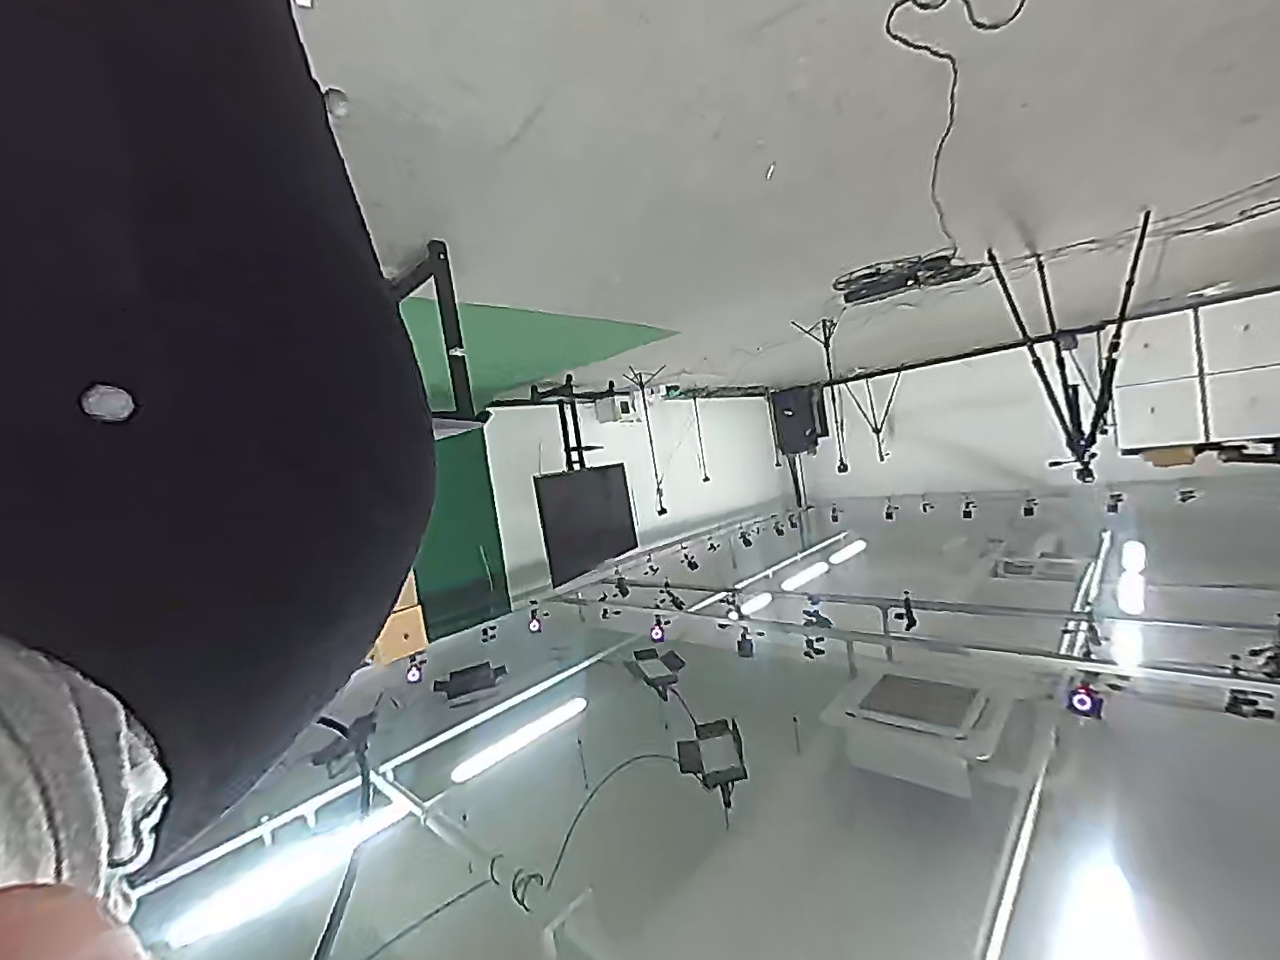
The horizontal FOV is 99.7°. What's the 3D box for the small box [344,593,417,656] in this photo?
[{"bbox_3d":[-0.949,0.518,1.975,0.168,0.176,0.179,-6,-174,40],"label":"small box"}]
